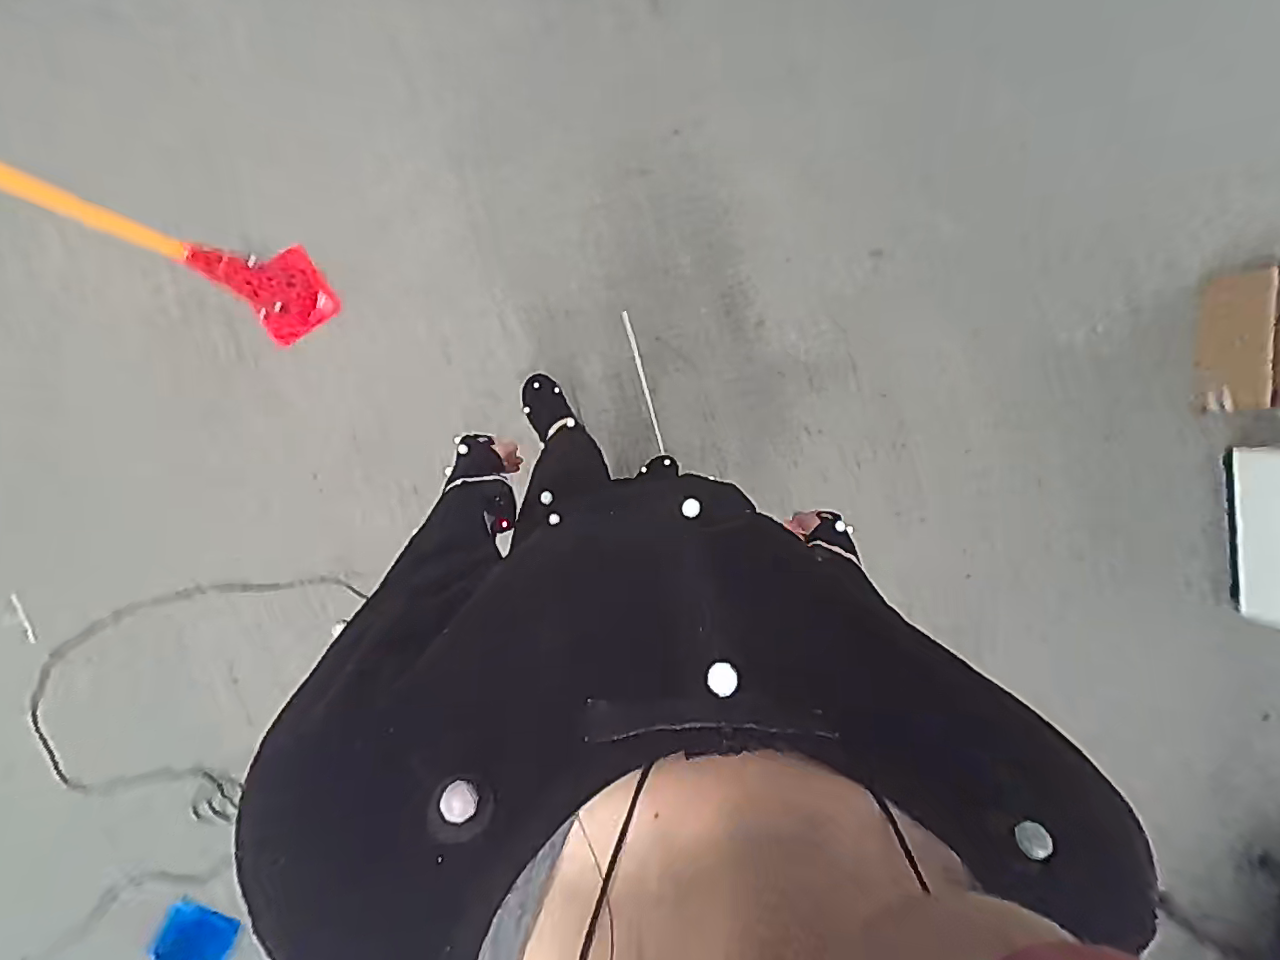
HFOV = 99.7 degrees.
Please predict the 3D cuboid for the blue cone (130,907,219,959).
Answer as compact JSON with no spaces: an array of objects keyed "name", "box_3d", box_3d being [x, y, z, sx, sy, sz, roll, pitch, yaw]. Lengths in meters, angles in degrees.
[{"name":"blue cone","box_3d":[-1.267,1.300,1.337,0.193,0.380,0.192,29,92,-9]}]
